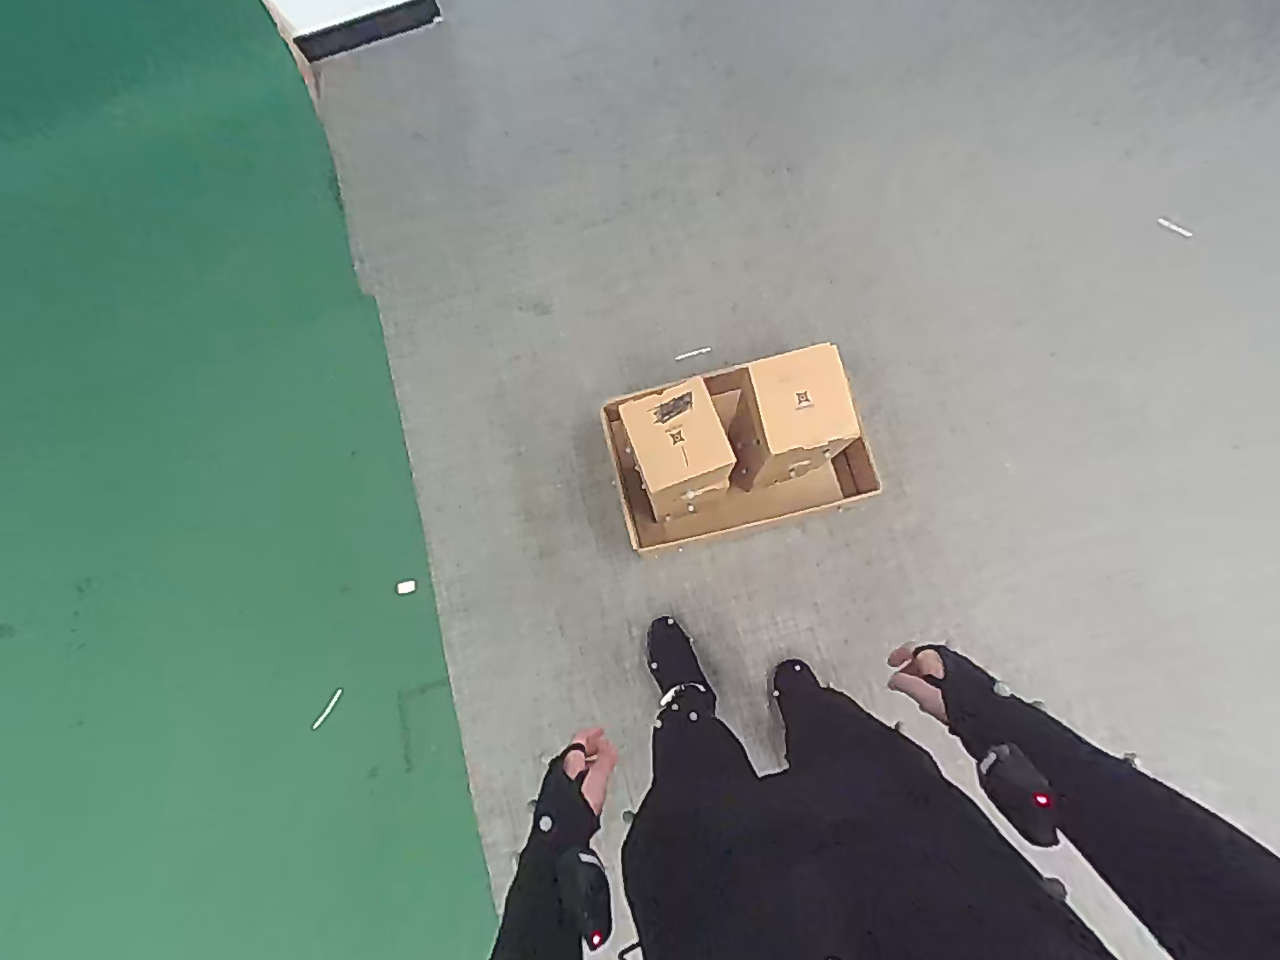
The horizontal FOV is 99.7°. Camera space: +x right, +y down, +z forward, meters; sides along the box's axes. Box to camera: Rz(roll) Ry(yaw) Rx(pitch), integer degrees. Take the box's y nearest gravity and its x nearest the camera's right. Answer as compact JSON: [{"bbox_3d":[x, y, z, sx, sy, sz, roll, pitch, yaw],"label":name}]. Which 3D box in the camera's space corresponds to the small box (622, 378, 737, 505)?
[{"bbox_3d":[0.072,-0.066,1.050,0.168,0.176,0.179,-20,78,-1],"label":"small box"}]

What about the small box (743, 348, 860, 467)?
[{"bbox_3d":[0.304,-0.130,1.051,0.168,0.176,0.179,-12,79,3],"label":"small box"}]

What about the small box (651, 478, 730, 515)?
[{"bbox_3d":[0.092,-0.033,1.210,0.168,0.176,0.179,-15,78,0],"label":"small box"}]
